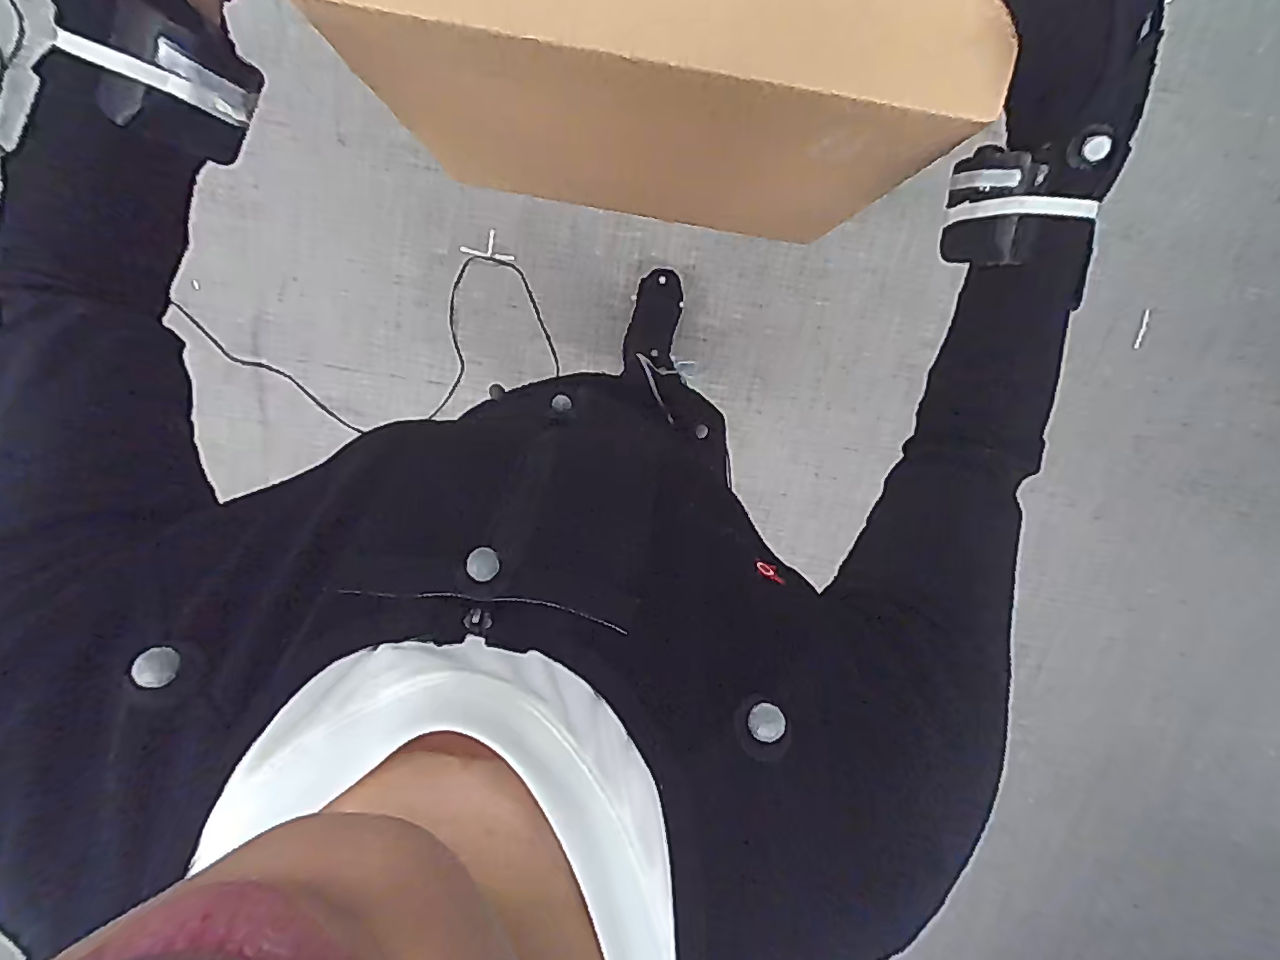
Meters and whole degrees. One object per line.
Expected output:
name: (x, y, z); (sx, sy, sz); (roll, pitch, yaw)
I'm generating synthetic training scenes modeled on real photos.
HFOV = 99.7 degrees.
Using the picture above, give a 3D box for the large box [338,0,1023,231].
large box: (0.030, -0.421, 0.427); (0.408, 0.320, 0.320); (7, 102, -5)
